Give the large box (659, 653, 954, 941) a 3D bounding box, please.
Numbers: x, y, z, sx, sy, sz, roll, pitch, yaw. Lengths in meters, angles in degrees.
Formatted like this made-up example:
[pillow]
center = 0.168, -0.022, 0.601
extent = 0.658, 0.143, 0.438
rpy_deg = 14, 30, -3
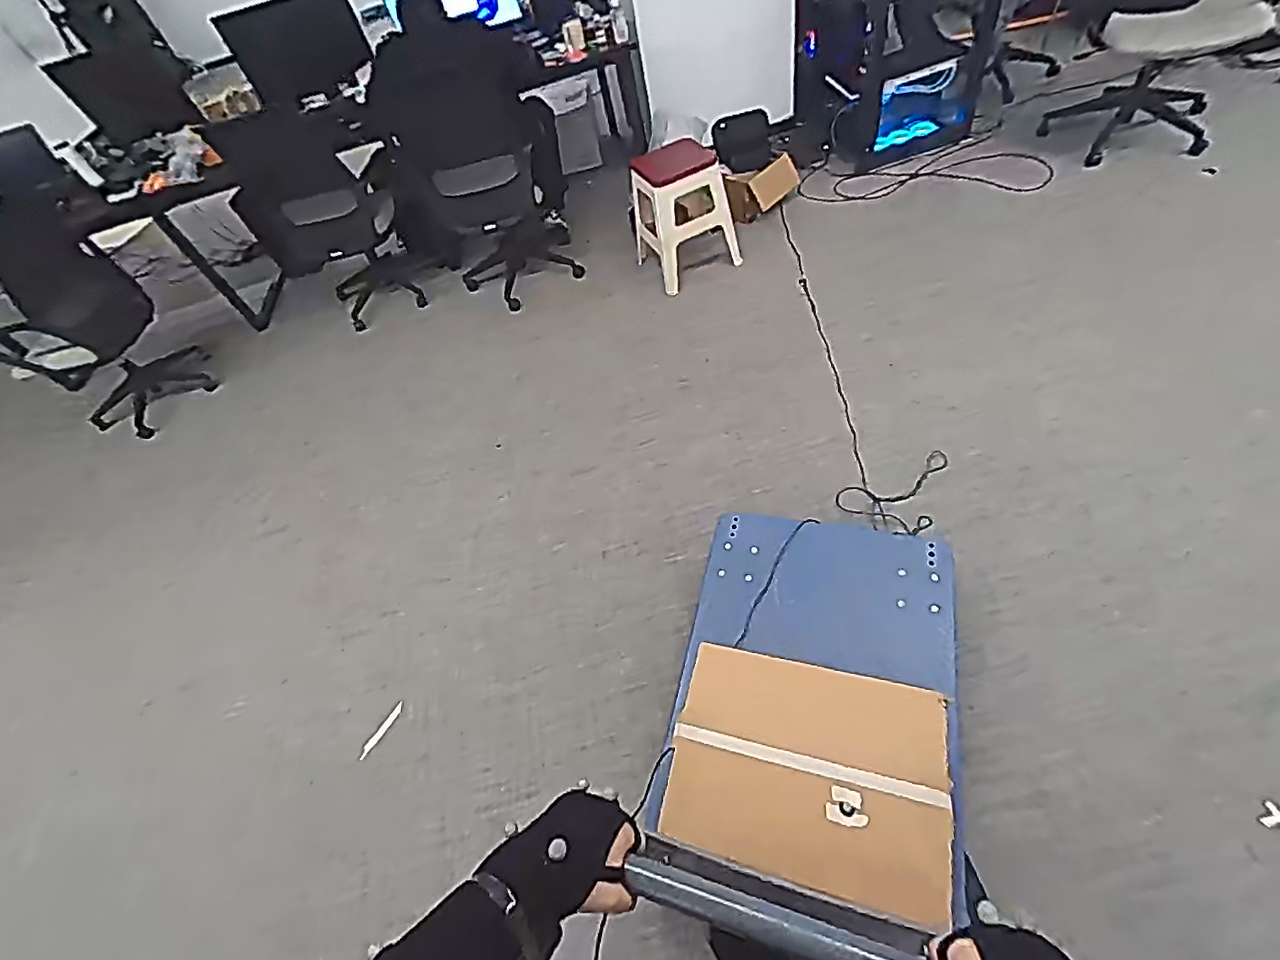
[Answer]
[large box]
center = 0.280, 0.538, 0.944
extent = 0.408, 0.320, 0.320
rpy_deg = 6, 56, 19
